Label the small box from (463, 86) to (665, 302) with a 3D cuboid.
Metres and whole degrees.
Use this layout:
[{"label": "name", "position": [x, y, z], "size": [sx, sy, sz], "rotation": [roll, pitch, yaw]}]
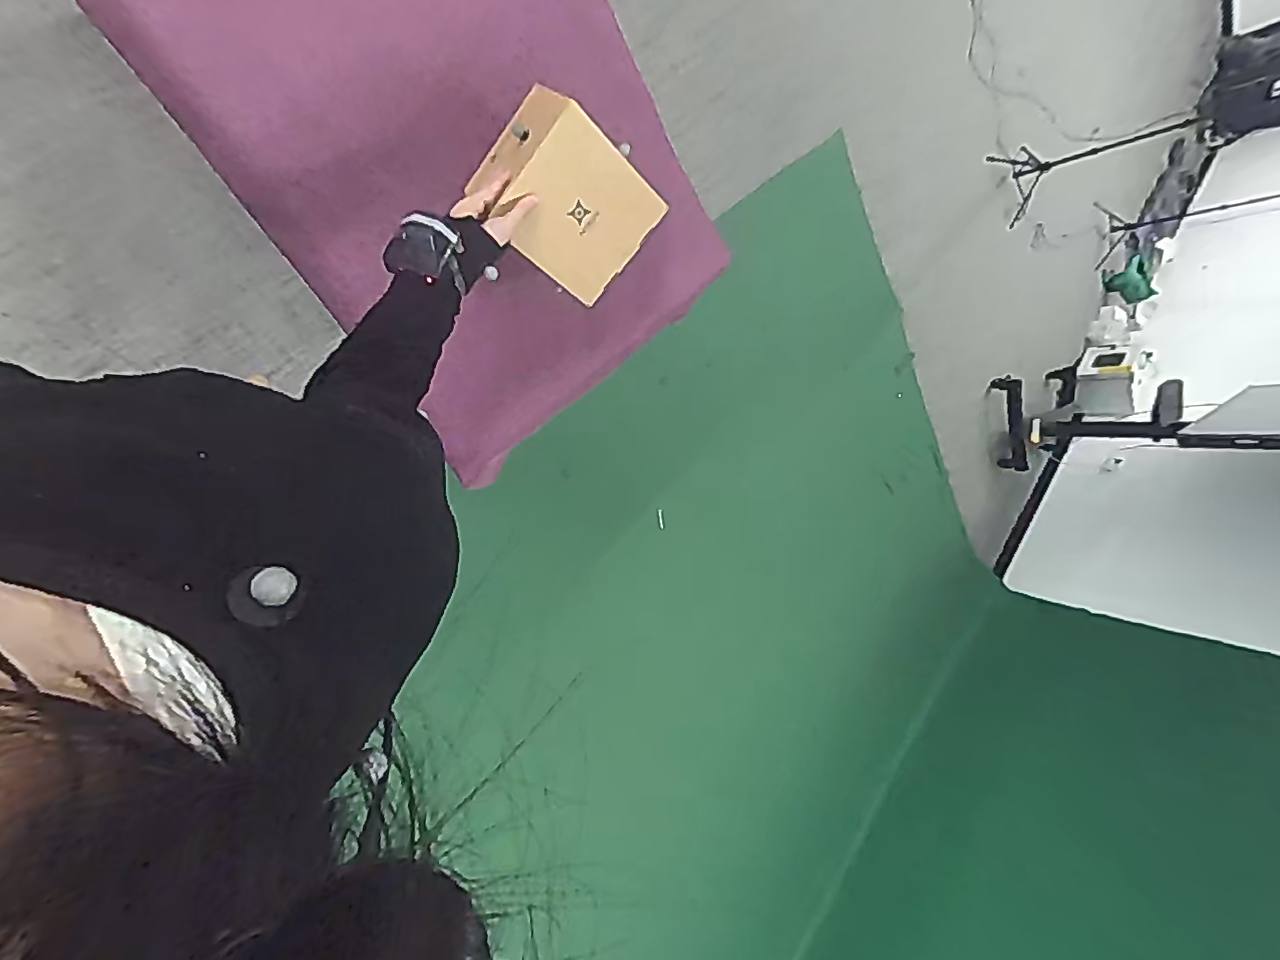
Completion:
[{"label": "small box", "position": [-0.106, -0.376, 0.710], "size": [0.168, 0.176, 0.179], "rotation": [-46, 137, 15]}]
